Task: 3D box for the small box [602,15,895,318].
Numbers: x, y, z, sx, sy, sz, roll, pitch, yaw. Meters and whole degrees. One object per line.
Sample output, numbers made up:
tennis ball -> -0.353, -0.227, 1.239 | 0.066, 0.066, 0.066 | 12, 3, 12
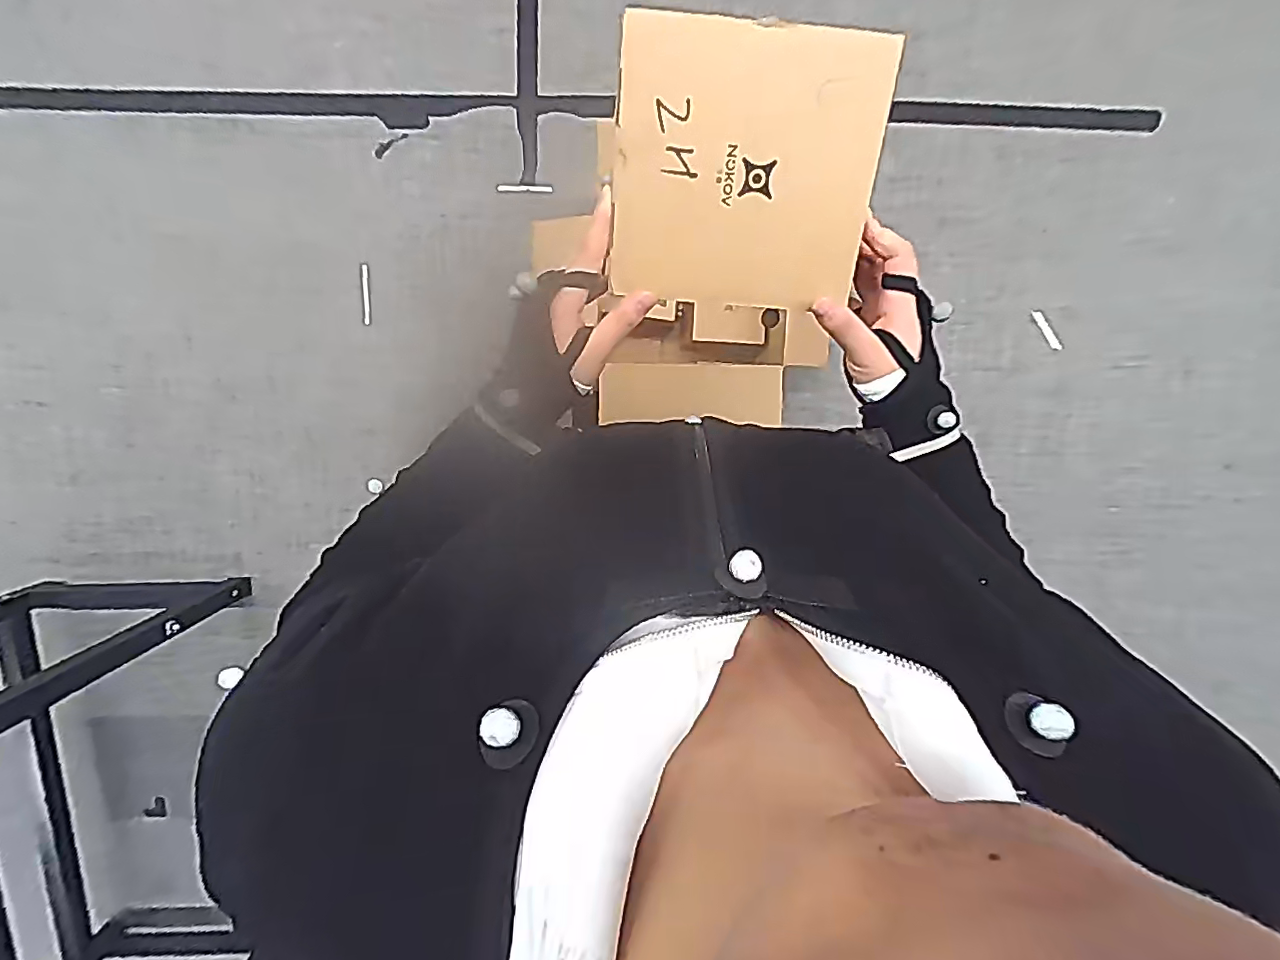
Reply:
small box -> 0.065, -0.231, 0.434 | 0.179, 0.176, 0.168 | 4, 112, -2
